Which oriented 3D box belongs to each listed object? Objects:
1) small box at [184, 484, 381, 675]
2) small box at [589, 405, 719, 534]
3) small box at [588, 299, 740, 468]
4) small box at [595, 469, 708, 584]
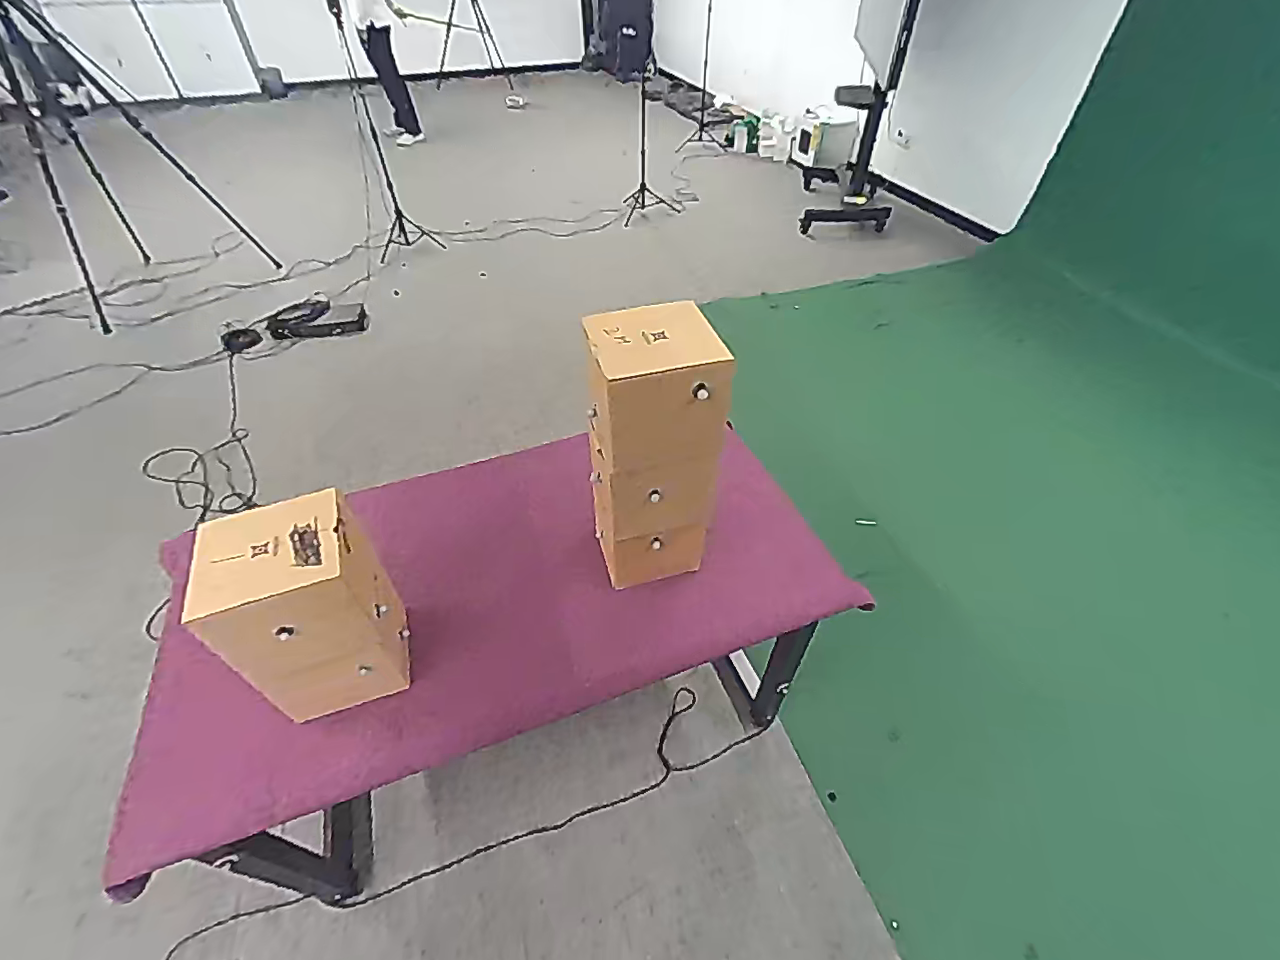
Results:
[{"bbox_3d":[-0.474,0.138,0.748,0.179,0.176,0.168,-17,49,-16],"label":"small box"},{"bbox_3d":[0.021,-0.028,0.919,0.179,0.176,0.168,-12,48,-10],"label":"small box"},{"bbox_3d":[0.028,-0.141,0.797,0.179,0.176,0.168,-12,47,-10],"label":"small box"},{"bbox_3d":[0.017,0.077,1.045,0.179,0.176,0.168,-12,48,-10],"label":"small box"}]
